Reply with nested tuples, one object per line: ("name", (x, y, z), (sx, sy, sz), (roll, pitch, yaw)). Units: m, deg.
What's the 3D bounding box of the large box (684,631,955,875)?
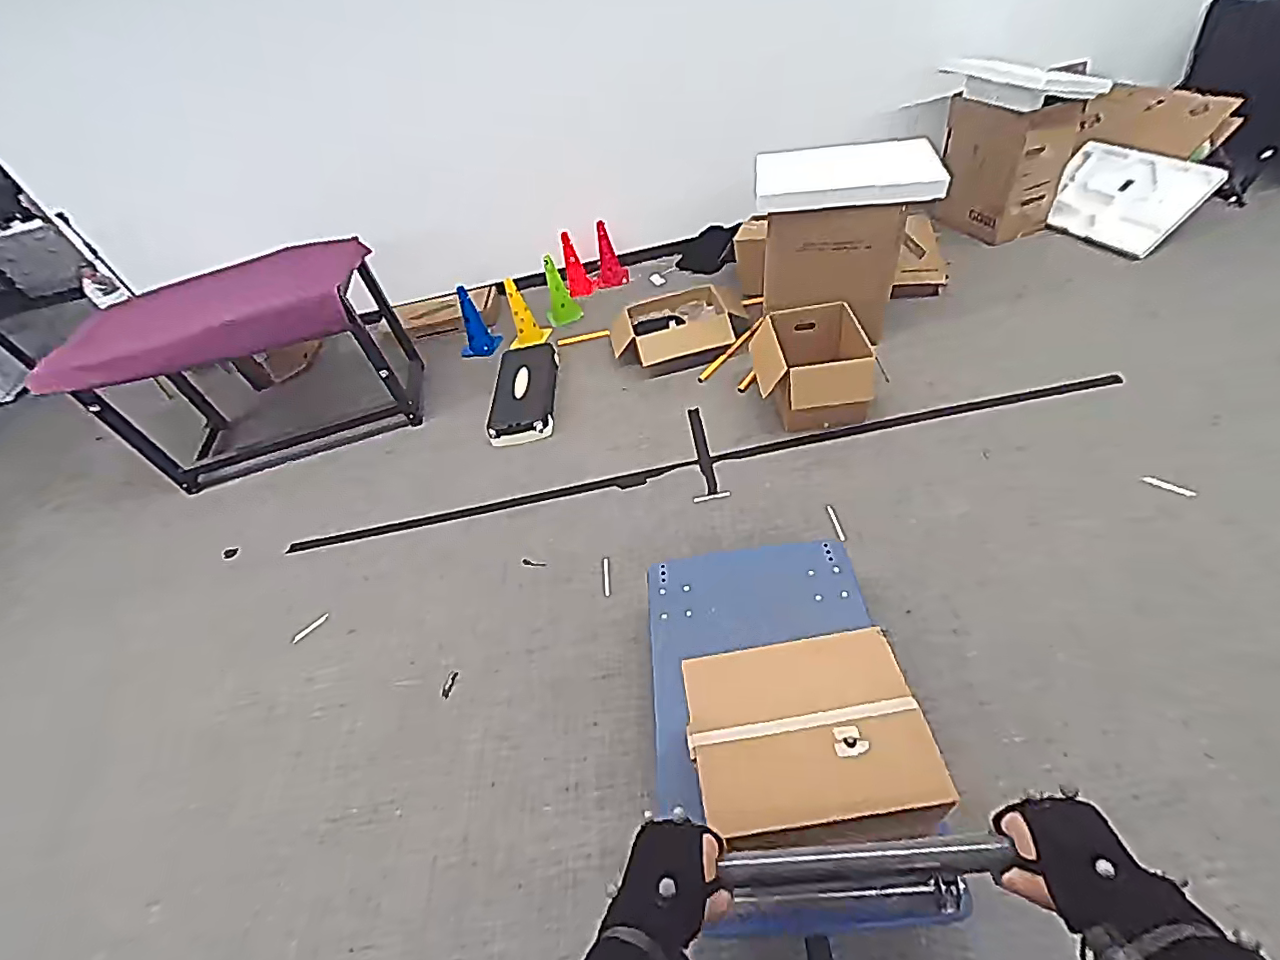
("large box", (0.320, 0.549, 1.082), (0.408, 0.320, 0.320), (-11, 45, 2))
